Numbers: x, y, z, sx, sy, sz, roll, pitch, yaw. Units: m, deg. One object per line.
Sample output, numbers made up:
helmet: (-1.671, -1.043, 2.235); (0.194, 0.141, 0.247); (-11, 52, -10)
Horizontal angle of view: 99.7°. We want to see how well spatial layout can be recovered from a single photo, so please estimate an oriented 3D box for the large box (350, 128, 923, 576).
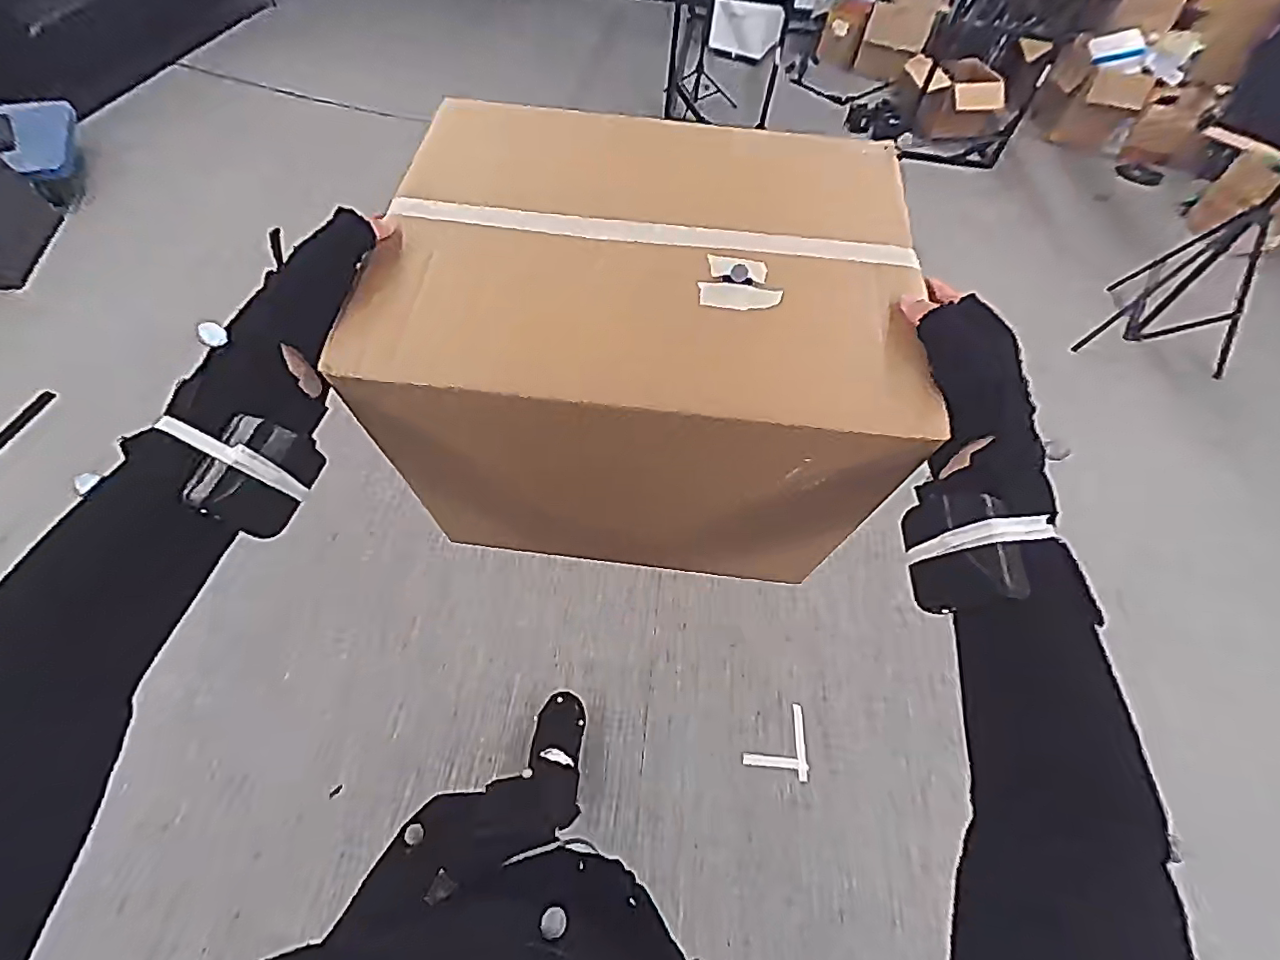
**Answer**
large box: (0.002, -0.108, 0.567); (0.408, 0.320, 0.320); (7, 63, 0)
